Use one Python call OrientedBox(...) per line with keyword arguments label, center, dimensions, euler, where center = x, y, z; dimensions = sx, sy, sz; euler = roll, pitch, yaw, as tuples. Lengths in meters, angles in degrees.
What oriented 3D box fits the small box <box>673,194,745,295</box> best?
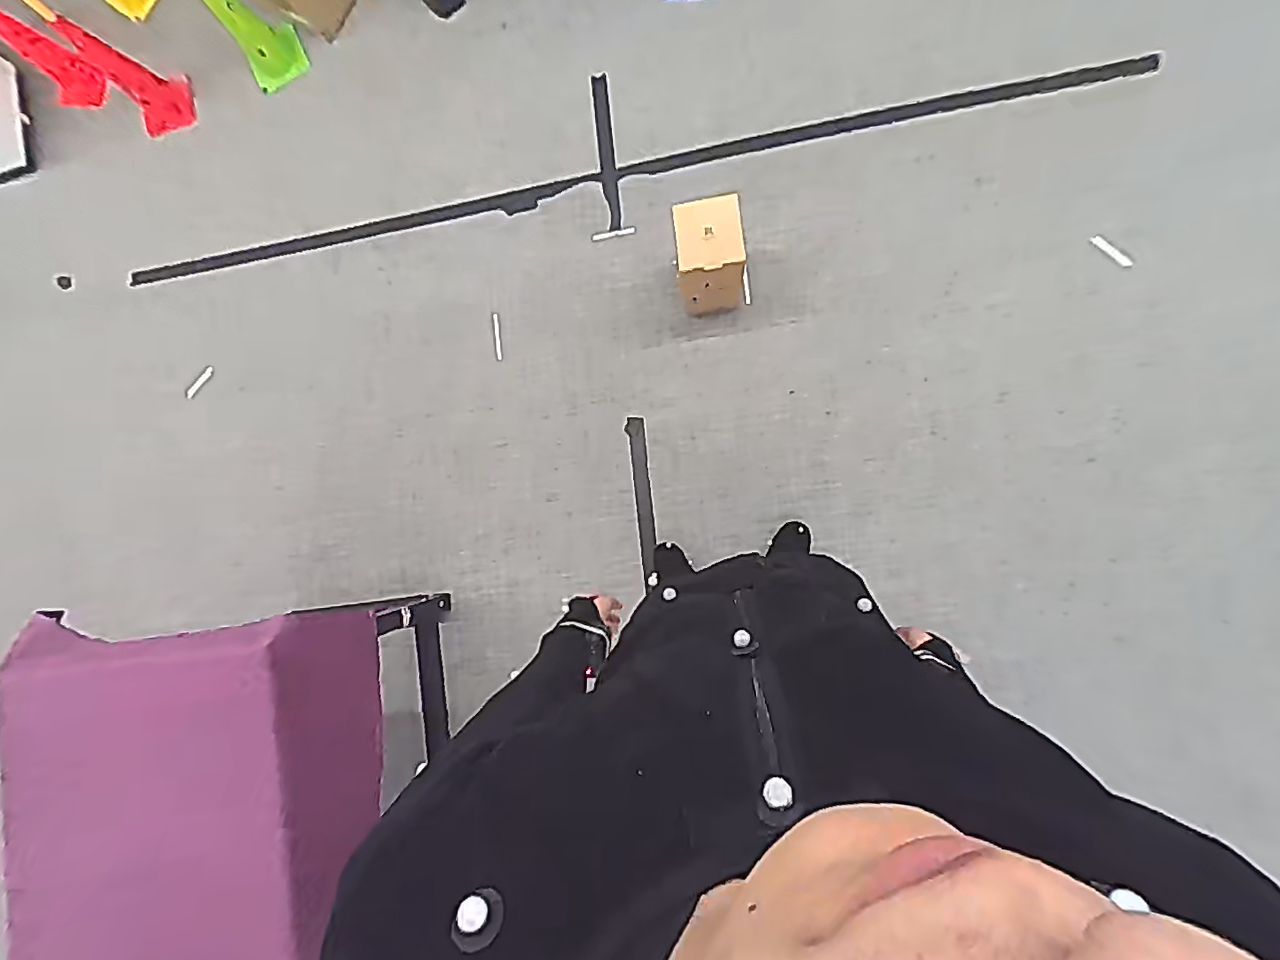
OrientedBox(label="small box", center=(0.177, -0.611, 1.420), dimensions=(0.168, 0.176, 0.179), euler=(-7, 86, 6))
